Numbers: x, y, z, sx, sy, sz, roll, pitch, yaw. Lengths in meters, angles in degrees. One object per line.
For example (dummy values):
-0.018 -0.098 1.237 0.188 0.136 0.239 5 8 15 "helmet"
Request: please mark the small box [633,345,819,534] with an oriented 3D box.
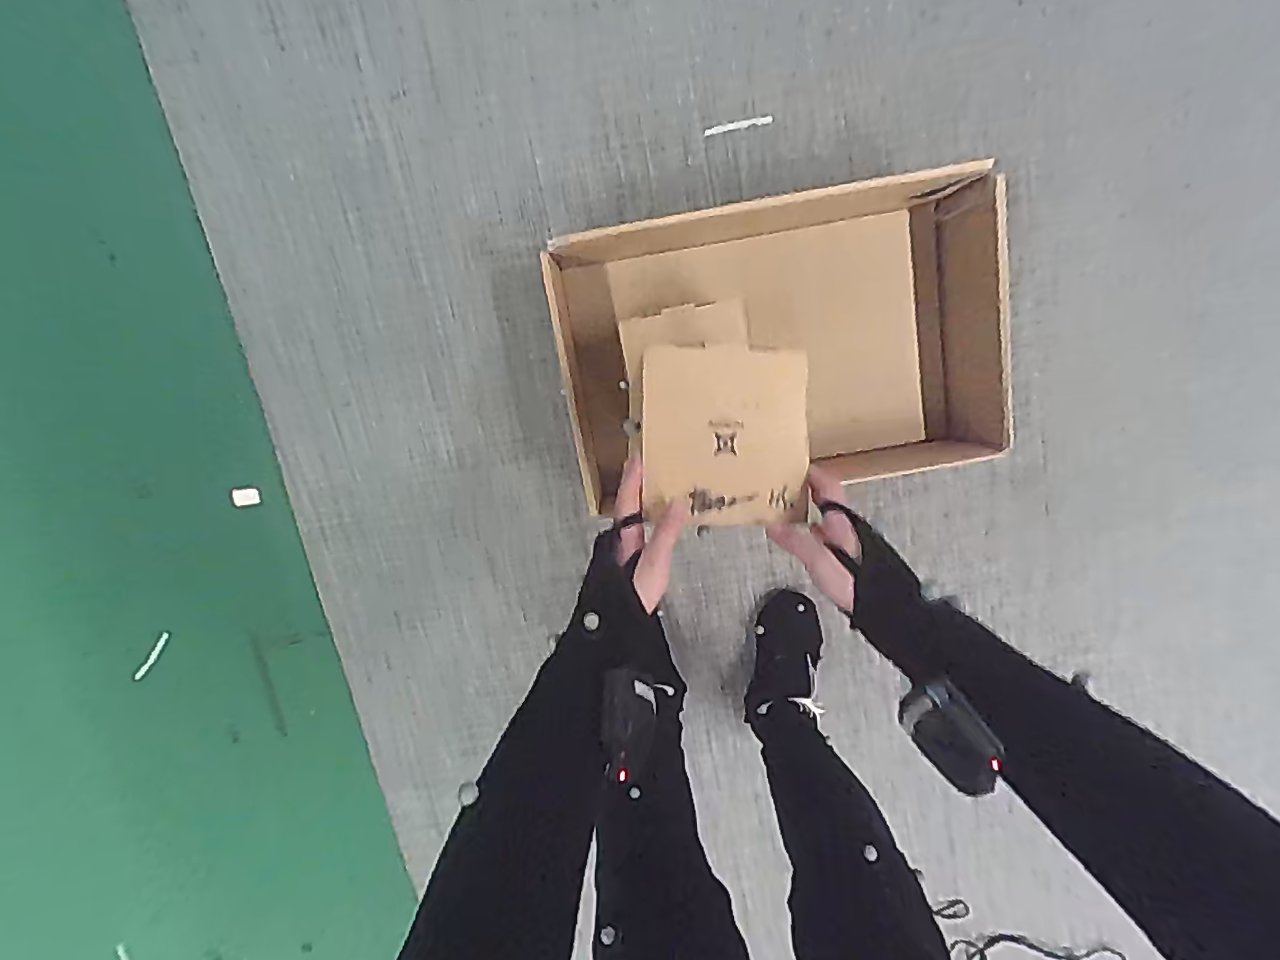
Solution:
0.082 -0.032 0.593 0.168 0.176 0.179 2 86 -6 "small box"
